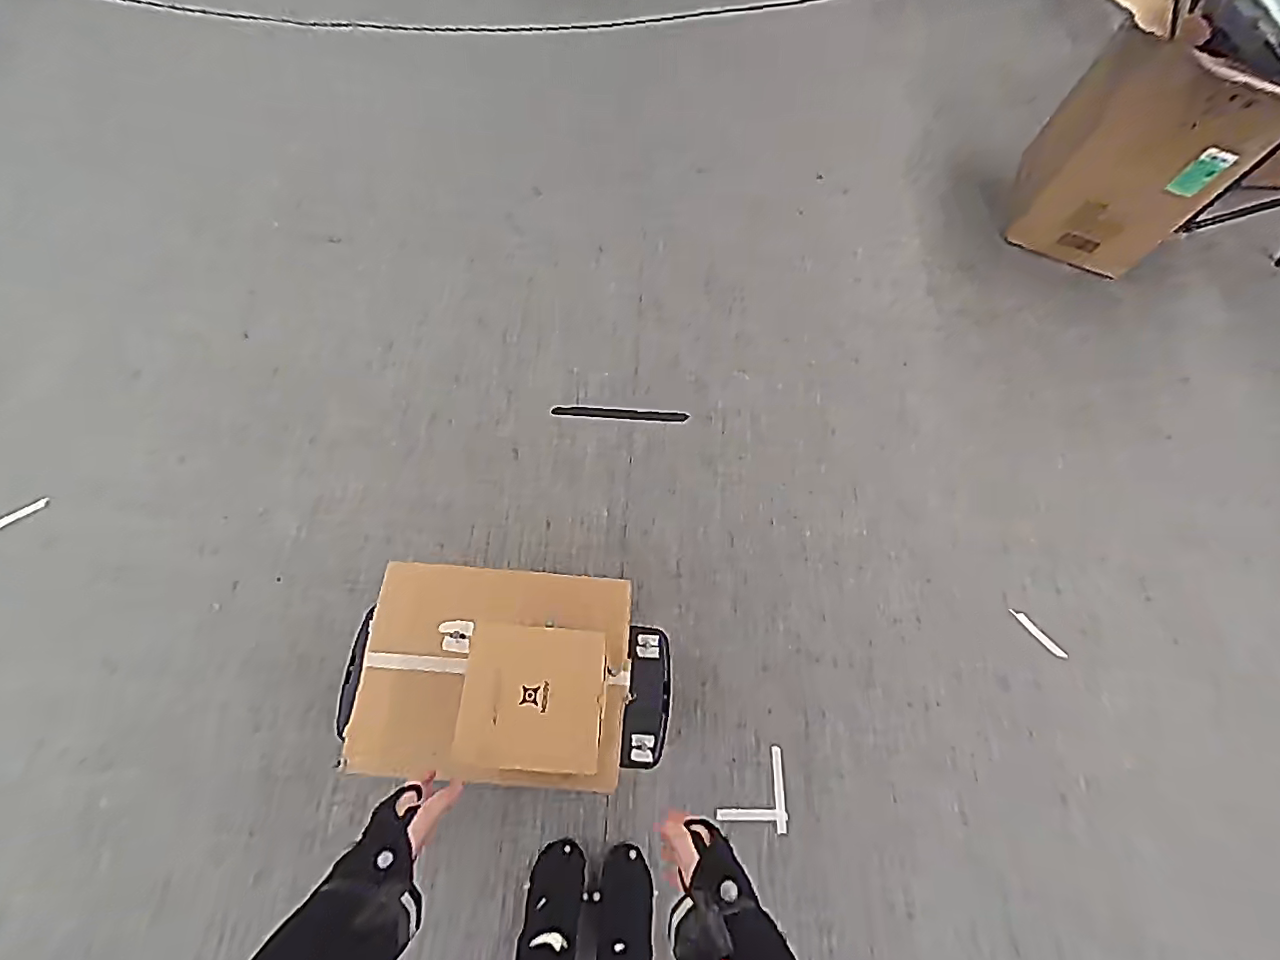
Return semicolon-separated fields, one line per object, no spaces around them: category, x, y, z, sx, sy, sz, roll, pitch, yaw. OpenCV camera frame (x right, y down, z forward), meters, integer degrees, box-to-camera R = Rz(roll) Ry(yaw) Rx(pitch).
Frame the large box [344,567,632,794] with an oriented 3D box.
large box;-0.221;0.350;0.965;0.408;0.320;0.320;4;67;0

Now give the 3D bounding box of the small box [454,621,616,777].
small box;-0.127;0.289;0.729;0.179;0.176;0.168;5;68;0

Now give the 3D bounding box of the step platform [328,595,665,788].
step platform;-0.288;0.452;1.177;0.684;0.204;0.286;10;68;2
